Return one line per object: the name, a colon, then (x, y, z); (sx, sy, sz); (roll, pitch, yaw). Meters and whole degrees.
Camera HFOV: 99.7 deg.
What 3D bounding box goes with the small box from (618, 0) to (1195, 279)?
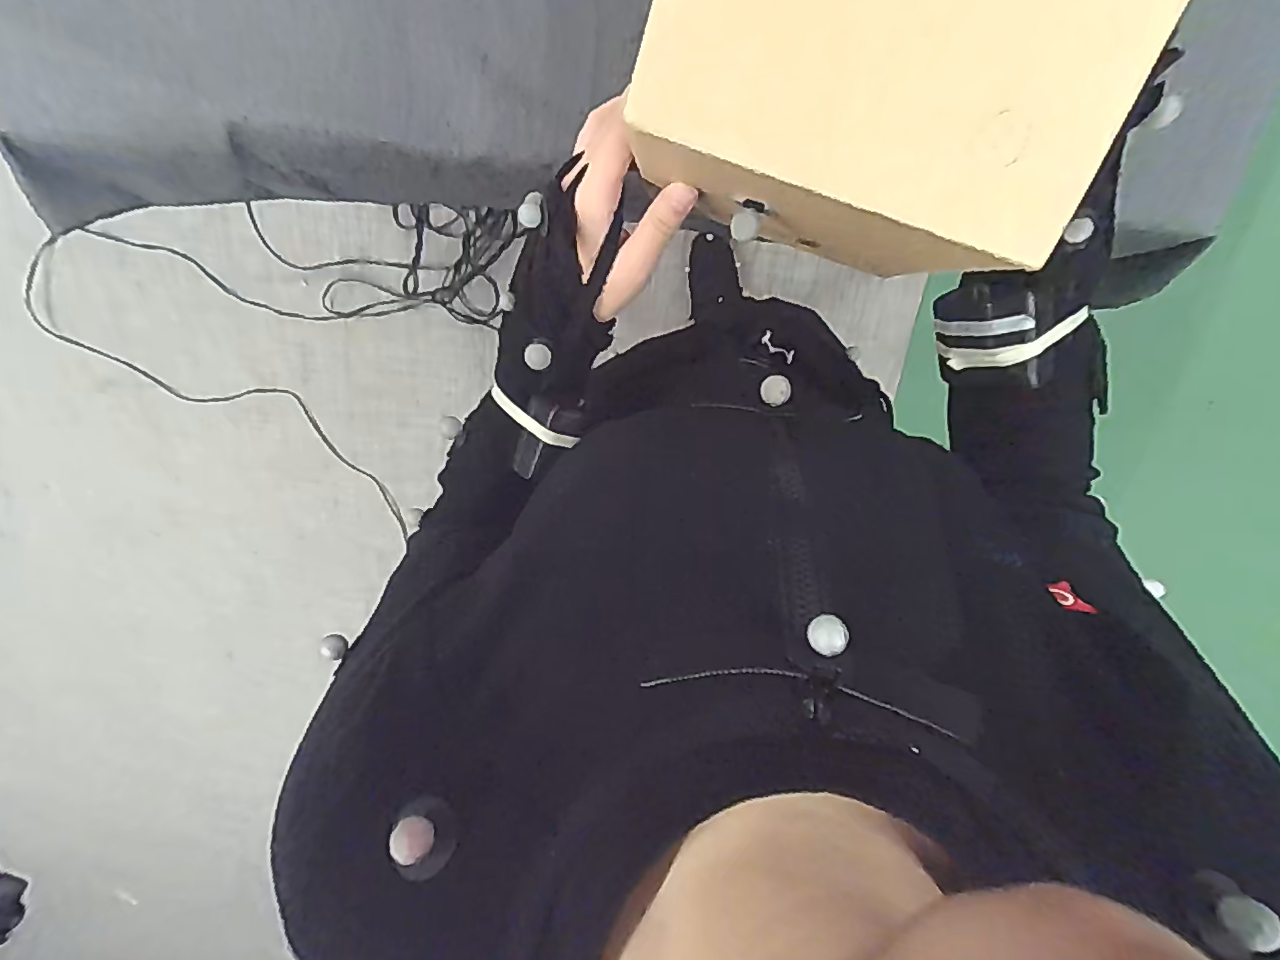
small box: (0.102, -0.201, 0.241); (0.168, 0.176, 0.179); (18, 109, -1)
